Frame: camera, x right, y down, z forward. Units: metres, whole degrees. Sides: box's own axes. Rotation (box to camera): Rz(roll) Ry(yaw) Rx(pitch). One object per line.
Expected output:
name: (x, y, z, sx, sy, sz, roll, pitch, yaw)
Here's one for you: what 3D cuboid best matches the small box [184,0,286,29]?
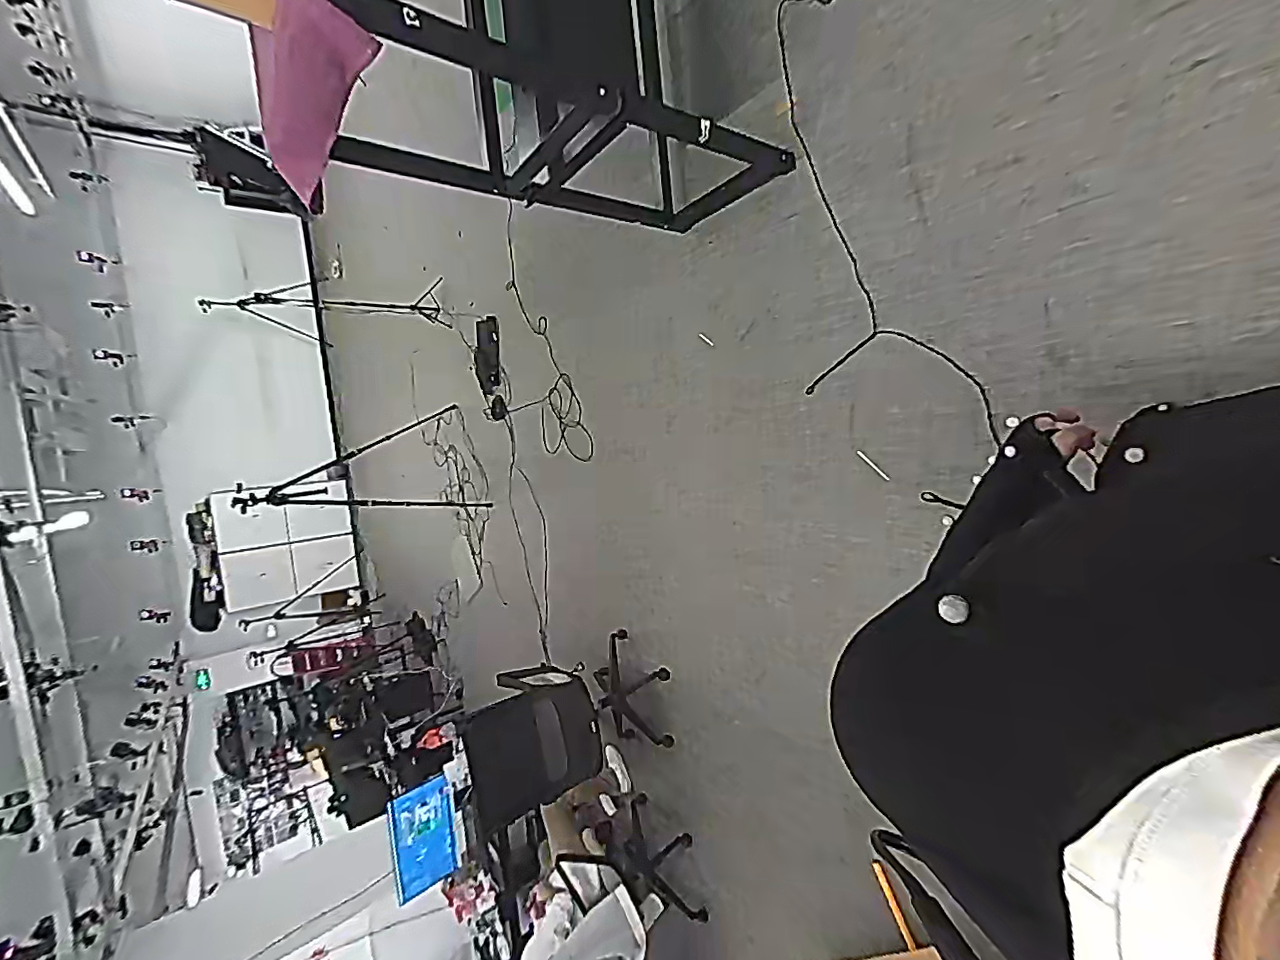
small box: (-0.782, -1.020, 1.030, 0.179, 0.176, 0.168, 10, 105, 52)
